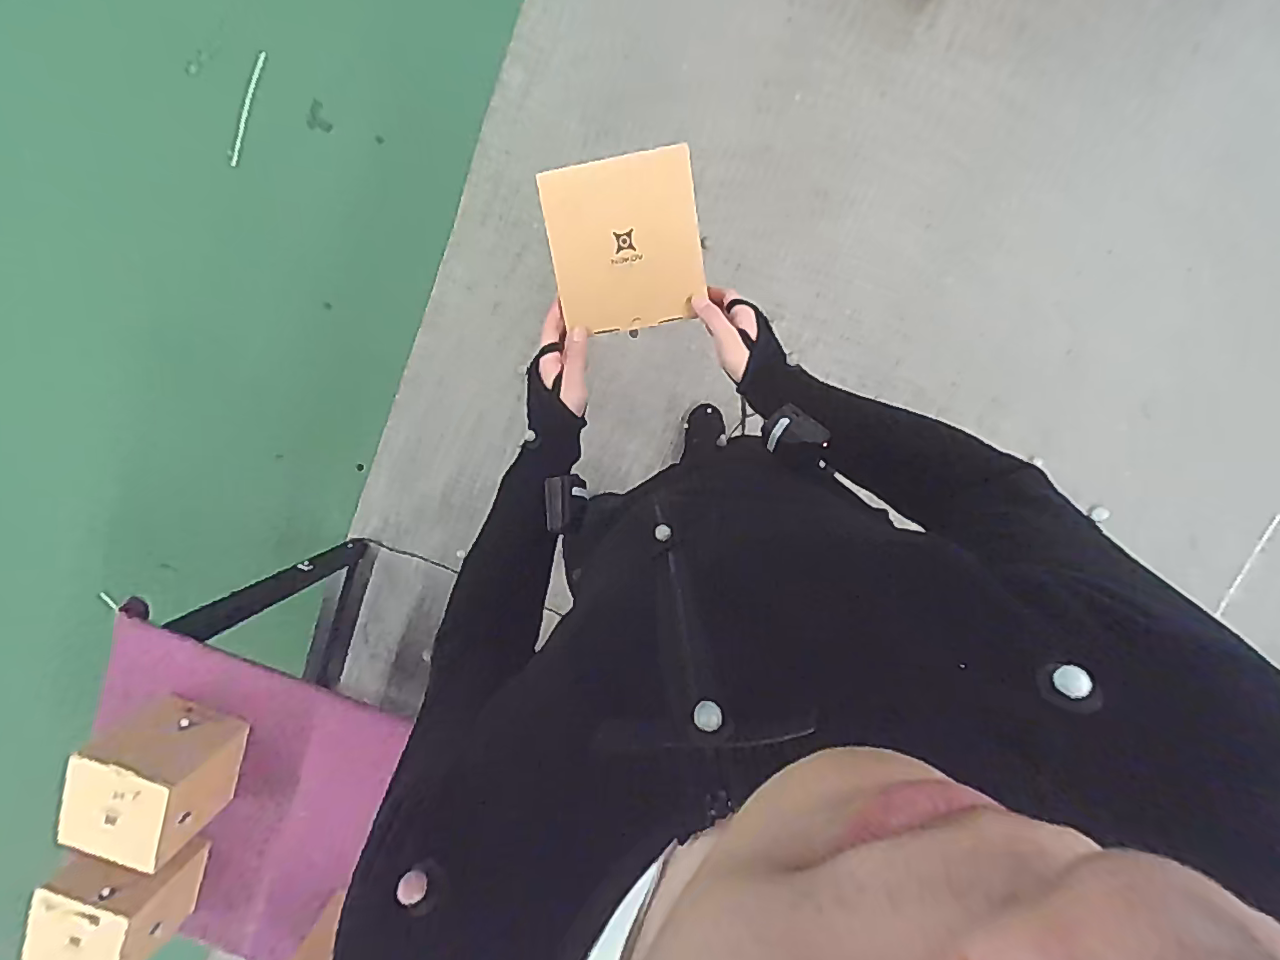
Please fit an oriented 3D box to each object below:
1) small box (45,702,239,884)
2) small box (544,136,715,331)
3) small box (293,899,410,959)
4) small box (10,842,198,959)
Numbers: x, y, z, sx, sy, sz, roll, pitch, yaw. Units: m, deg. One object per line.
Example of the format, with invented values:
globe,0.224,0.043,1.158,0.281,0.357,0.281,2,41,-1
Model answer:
small box,-0.831,0.519,0.918,0.168,0.176,0.179,20,100,-1
small box,-0.008,-0.283,0.657,0.168,0.176,0.179,-8,107,4
small box,-0.537,0.913,0.964,0.168,0.176,0.179,18,98,-1
small box,-0.941,0.767,0.962,0.168,0.176,0.179,20,99,-1
